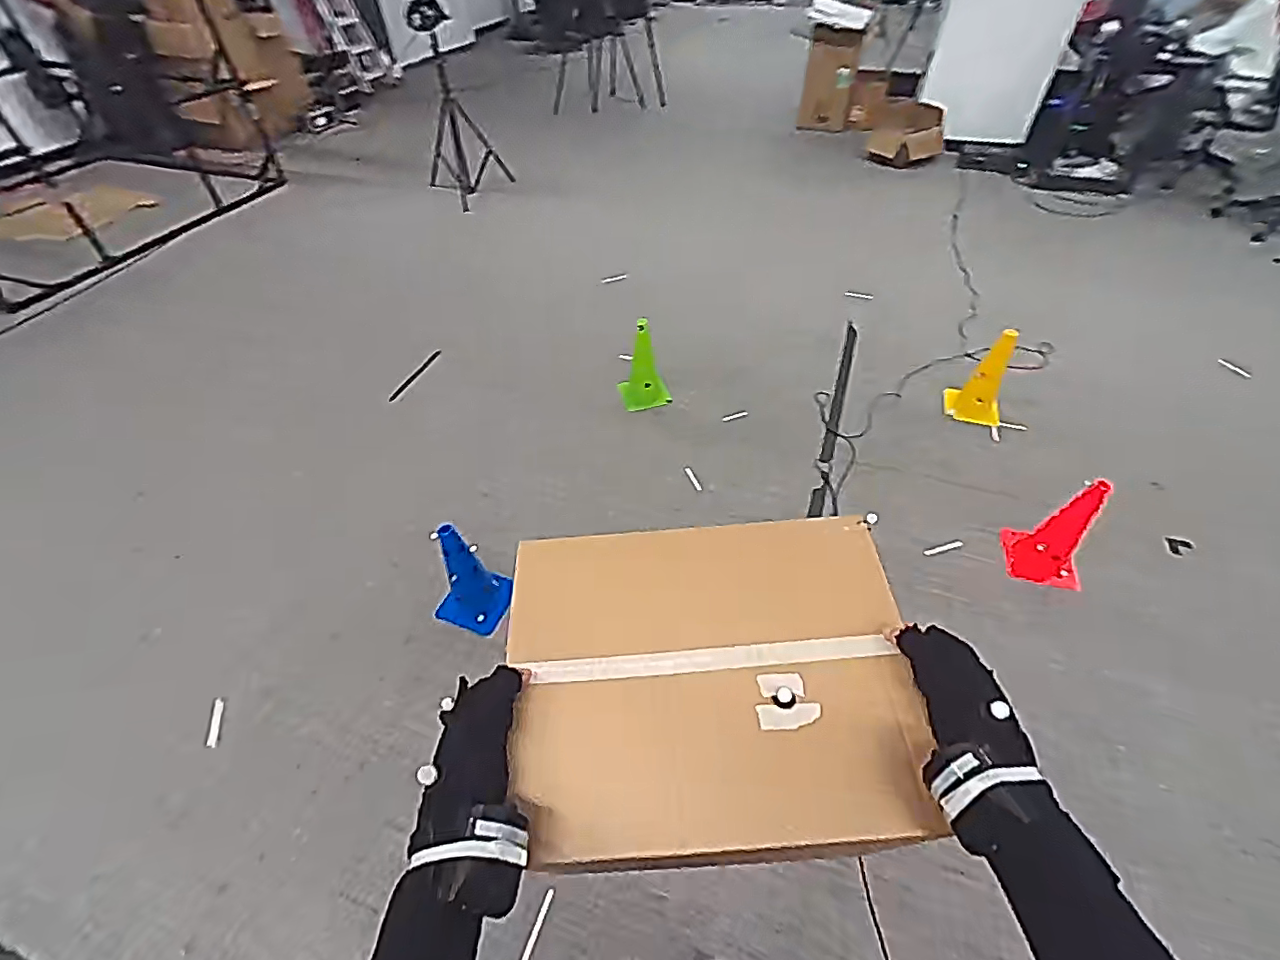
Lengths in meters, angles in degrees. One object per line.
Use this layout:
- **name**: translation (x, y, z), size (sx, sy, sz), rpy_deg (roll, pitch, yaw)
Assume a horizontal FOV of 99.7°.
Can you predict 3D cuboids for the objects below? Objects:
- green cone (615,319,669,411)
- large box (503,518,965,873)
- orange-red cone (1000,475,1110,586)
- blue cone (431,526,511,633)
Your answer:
- **green cone**: translation (-0.002, -0.496, 2.223), size (0.202, 0.368, 0.200), rpy_deg (-16, 48, -10)
- **large box**: translation (0.077, 0.272, 0.663), size (0.408, 0.320, 0.320), rpy_deg (-4, 53, 1)
- **orange-red cone**: translation (1.263, 0.120, 1.601), size (0.198, 0.360, 0.199), rpy_deg (12, 48, 12)
- **blue cone**: translation (-0.521, 0.266, 1.566), size (0.192, 0.380, 0.193), rpy_deg (15, 50, 17)
